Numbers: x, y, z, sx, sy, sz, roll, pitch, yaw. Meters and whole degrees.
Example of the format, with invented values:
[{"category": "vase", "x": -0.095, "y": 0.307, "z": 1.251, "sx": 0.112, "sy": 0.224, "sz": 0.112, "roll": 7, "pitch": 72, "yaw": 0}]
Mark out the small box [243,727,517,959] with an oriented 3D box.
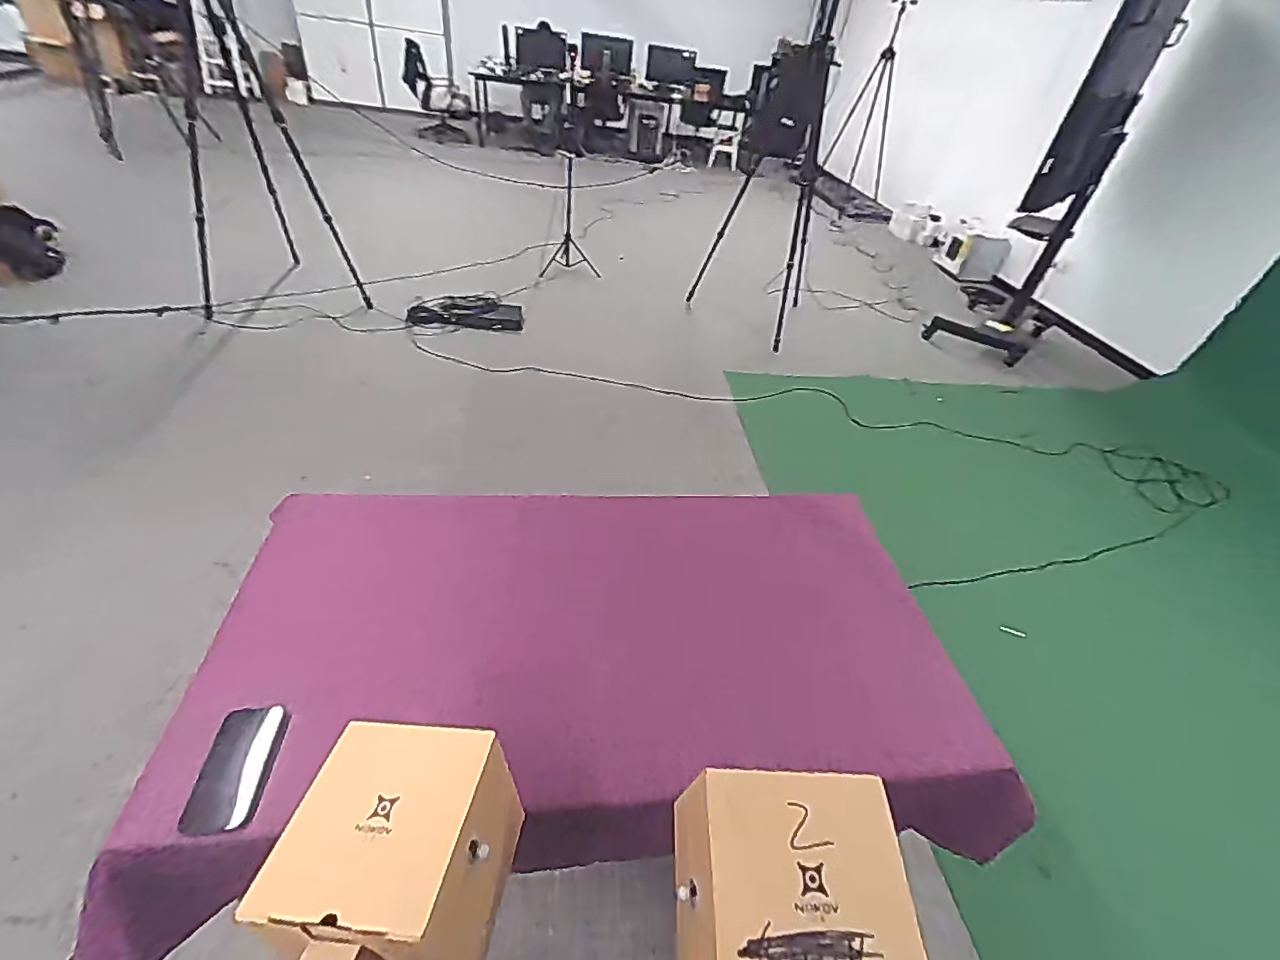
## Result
[{"category": "small box", "x": -0.234, "y": 0.382, "z": 0.545, "sx": 0.168, "sy": 0.176, "sz": 0.179, "roll": 0, "pitch": 34, "yaw": 7}]
